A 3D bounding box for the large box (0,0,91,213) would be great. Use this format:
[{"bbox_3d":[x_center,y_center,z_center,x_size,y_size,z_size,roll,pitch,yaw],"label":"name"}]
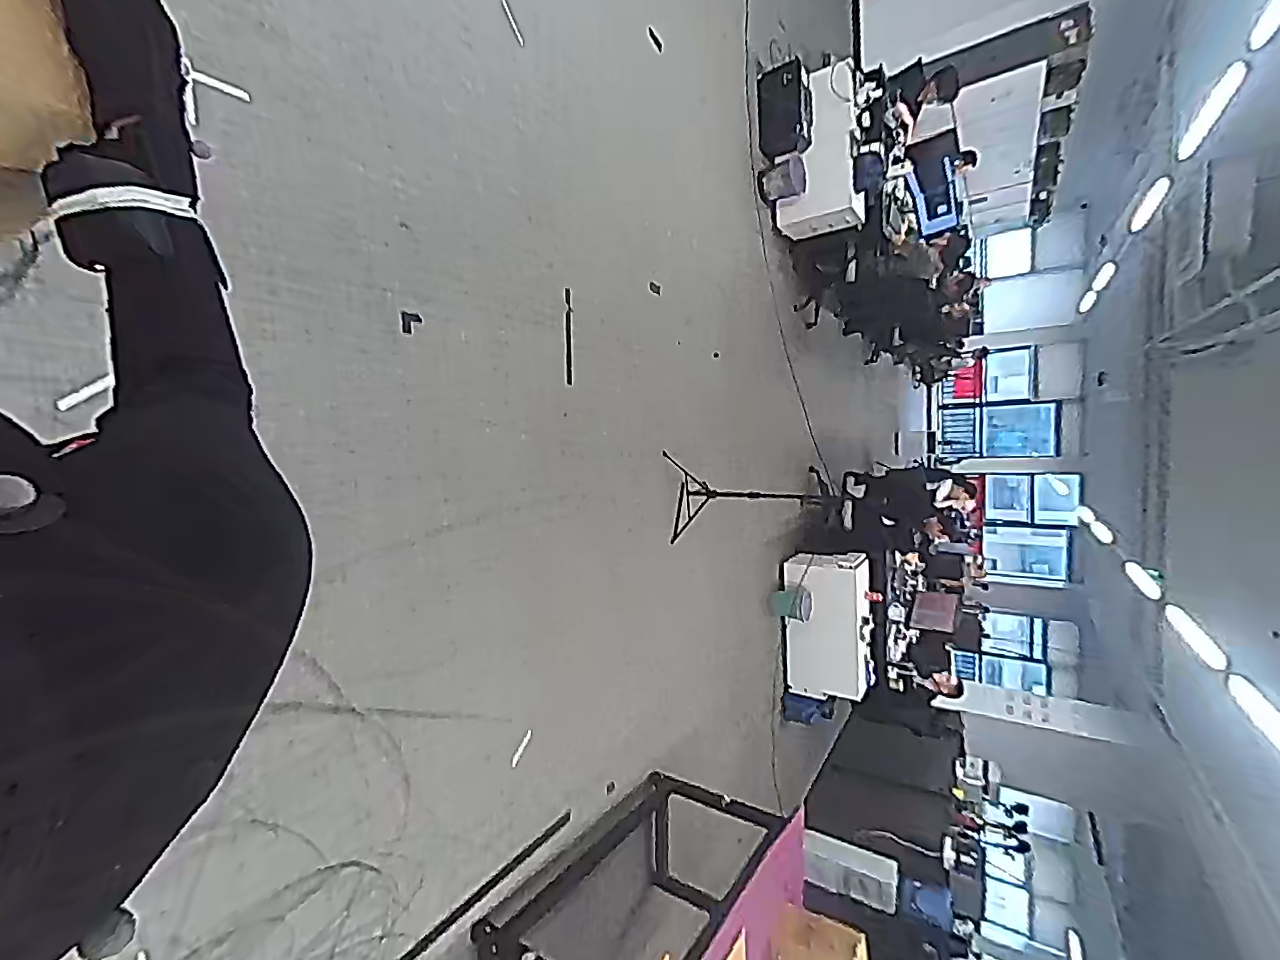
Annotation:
[{"bbox_3d":[-0.628,-0.356,0.273,0.408,0.320,0.320,-17,111,-57],"label":"large box"}]
